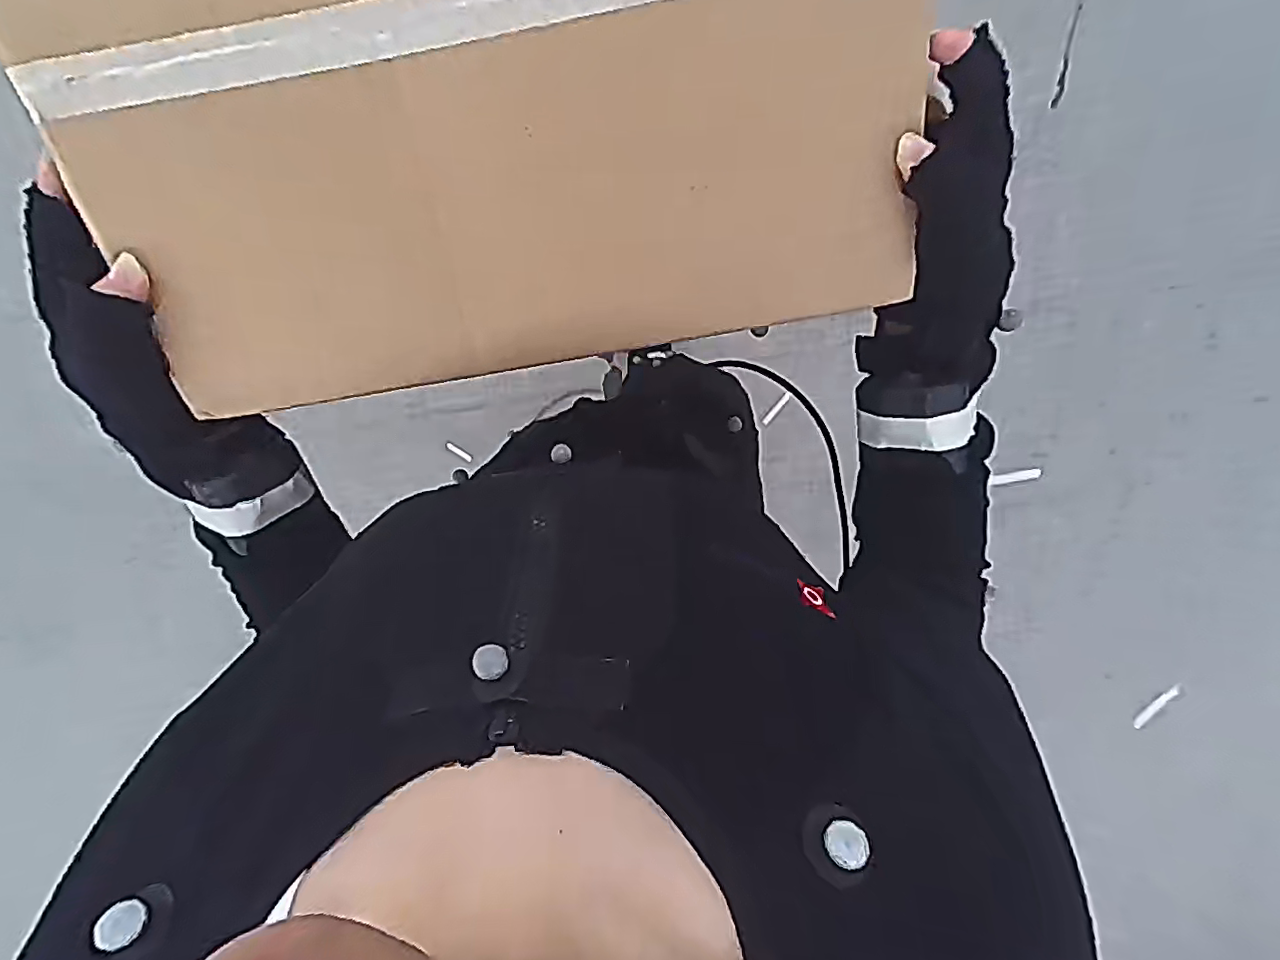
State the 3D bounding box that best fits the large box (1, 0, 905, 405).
[{"bbox_3d":[-0.081,-0.277,0.378,0.408,0.320,0.320,-10,114,2],"label":"large box"}]
